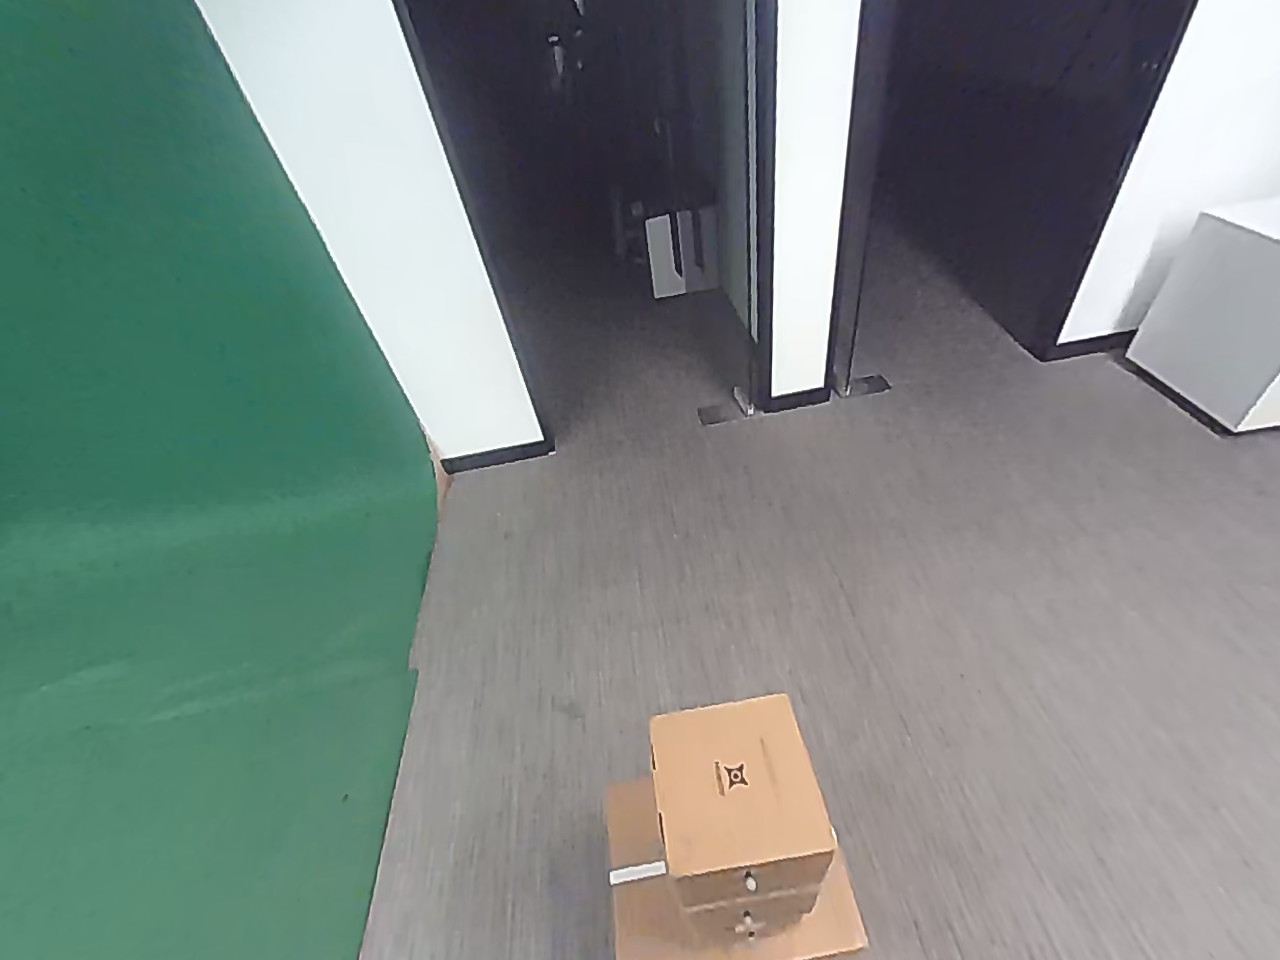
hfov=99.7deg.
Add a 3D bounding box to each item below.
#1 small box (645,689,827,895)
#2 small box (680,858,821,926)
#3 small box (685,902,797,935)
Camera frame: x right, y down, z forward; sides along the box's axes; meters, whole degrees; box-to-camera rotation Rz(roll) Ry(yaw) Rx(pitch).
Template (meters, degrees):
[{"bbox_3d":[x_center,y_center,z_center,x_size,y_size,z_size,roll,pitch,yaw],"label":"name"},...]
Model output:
[{"bbox_3d":[0.110,0.383,0.660,0.179,0.176,0.168,-10,44,0],"label":"small box"},{"bbox_3d":[0.133,0.503,0.766,0.179,0.176,0.168,-12,43,-2],"label":"small box"},{"bbox_3d":[0.148,0.617,0.884,0.168,0.176,0.179,-12,44,0],"label":"small box"}]
